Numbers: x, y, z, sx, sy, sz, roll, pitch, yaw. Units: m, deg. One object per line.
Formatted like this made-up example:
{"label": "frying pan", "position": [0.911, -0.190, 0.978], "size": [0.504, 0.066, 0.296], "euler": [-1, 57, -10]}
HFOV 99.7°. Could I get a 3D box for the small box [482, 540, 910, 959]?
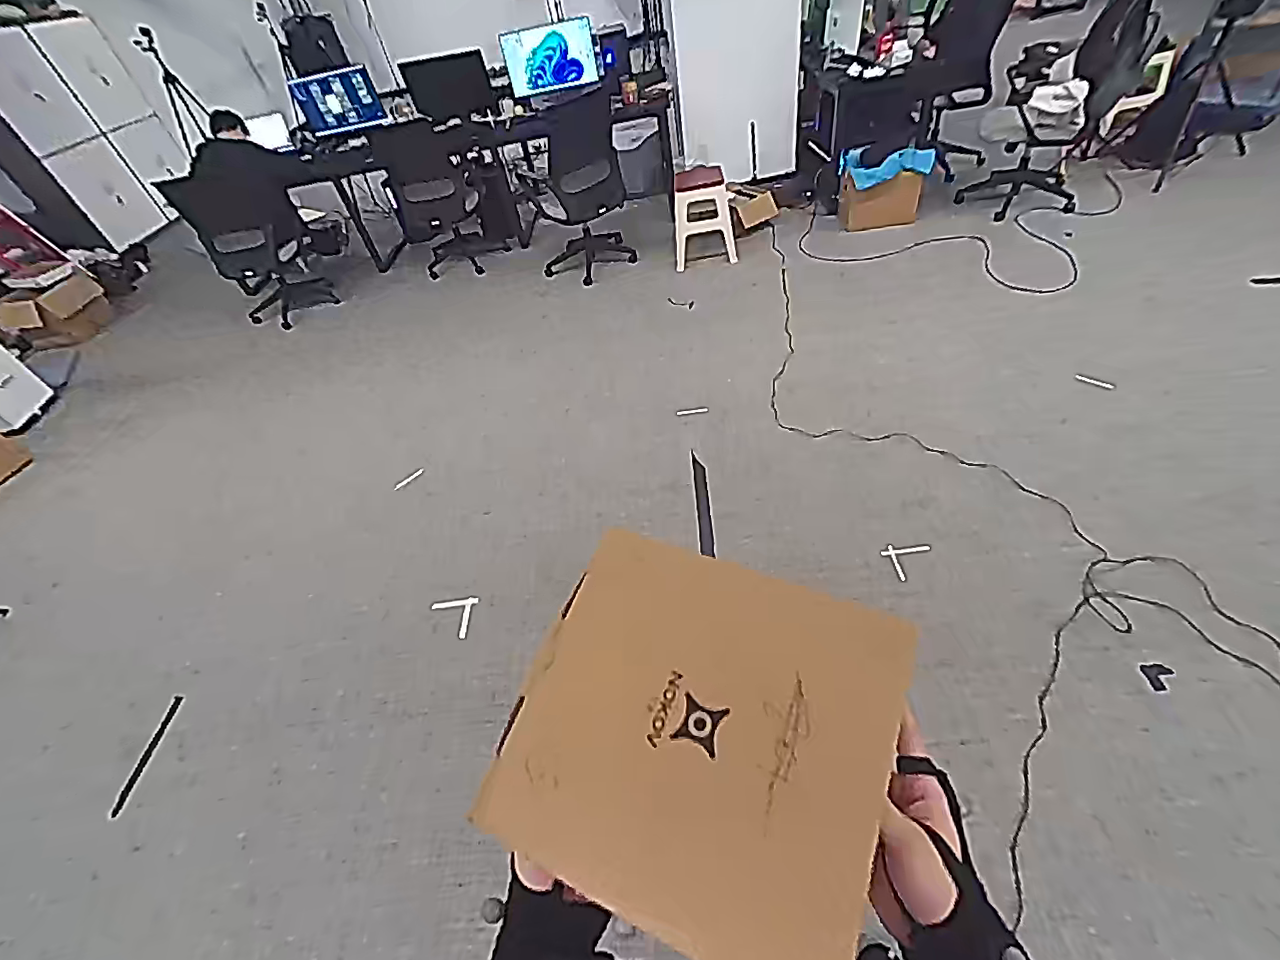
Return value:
{"label": "small box", "position": [0.043, 0.163, 0.337], "size": [0.179, 0.176, 0.168], "euler": [15, 65, 20]}
